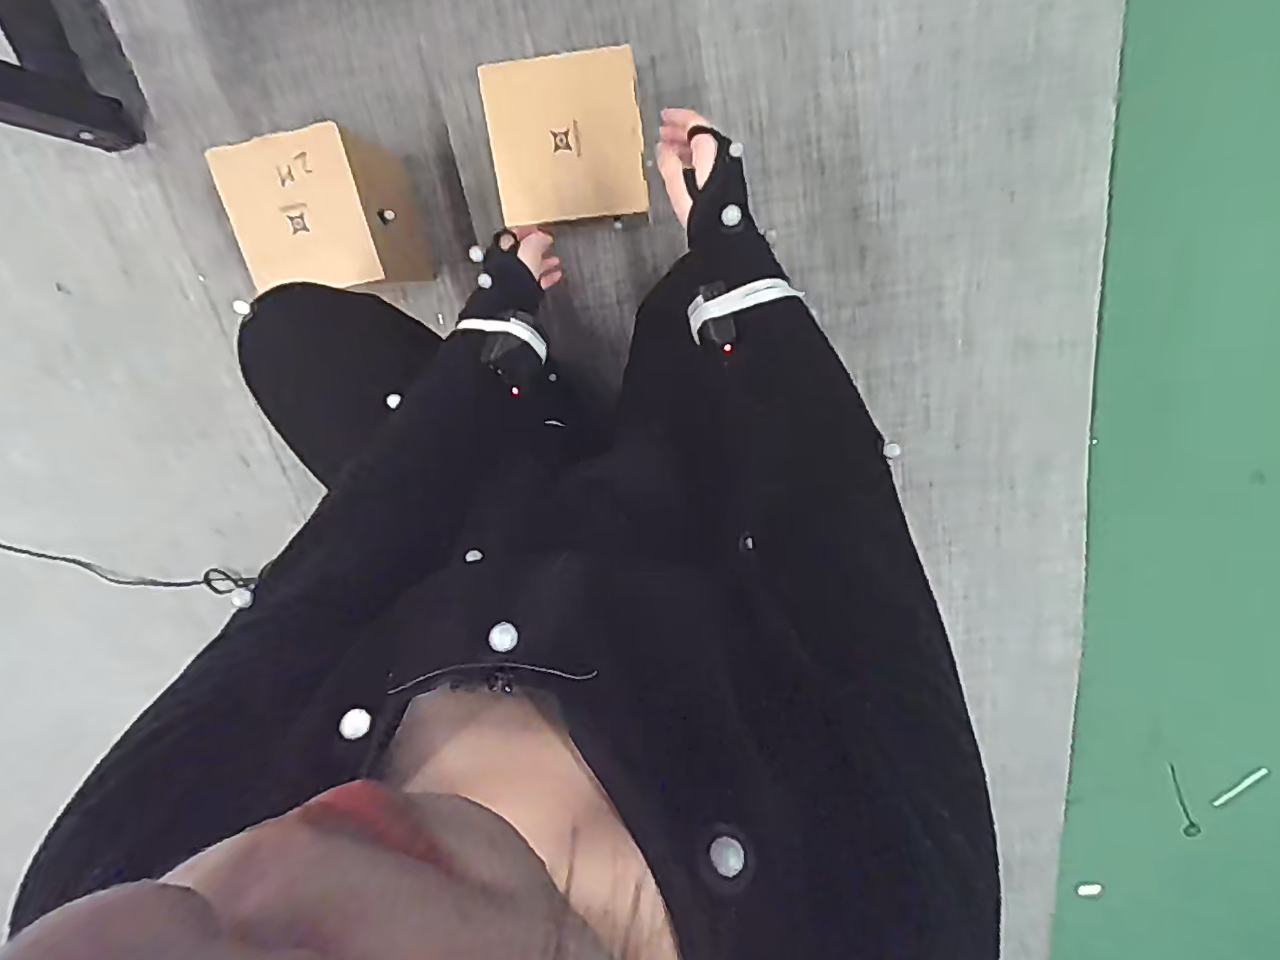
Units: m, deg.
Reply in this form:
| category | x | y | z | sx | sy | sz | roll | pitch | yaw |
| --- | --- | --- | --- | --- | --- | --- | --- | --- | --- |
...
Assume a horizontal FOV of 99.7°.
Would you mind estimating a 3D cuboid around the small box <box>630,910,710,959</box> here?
| category | x | y | z | sx | sy | sz | roll | pitch | yaw |
| --- | --- | --- | --- | --- | --- | --- | --- | --- | --- |
| small box | 0.068 | 1.100 | 1.207 | 0.179 | 0.176 | 0.168 | -3 | 109 | 3 |
